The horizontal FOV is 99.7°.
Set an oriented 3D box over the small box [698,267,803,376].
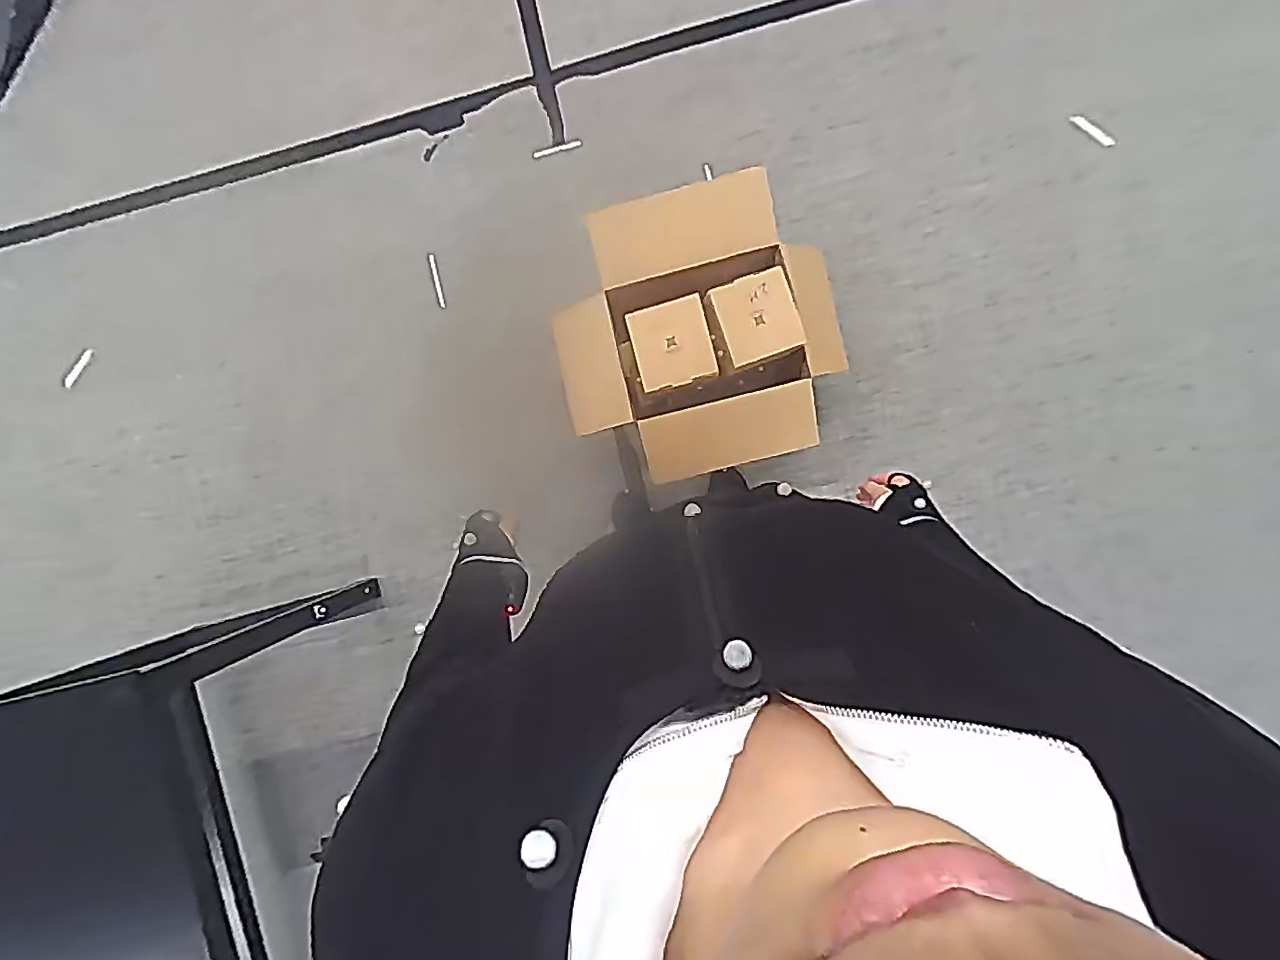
[{"bbox_3d":[0.242,-0.345,1.221,0.168,0.176,0.179,-20,91,-1],"label":"small box"}]
